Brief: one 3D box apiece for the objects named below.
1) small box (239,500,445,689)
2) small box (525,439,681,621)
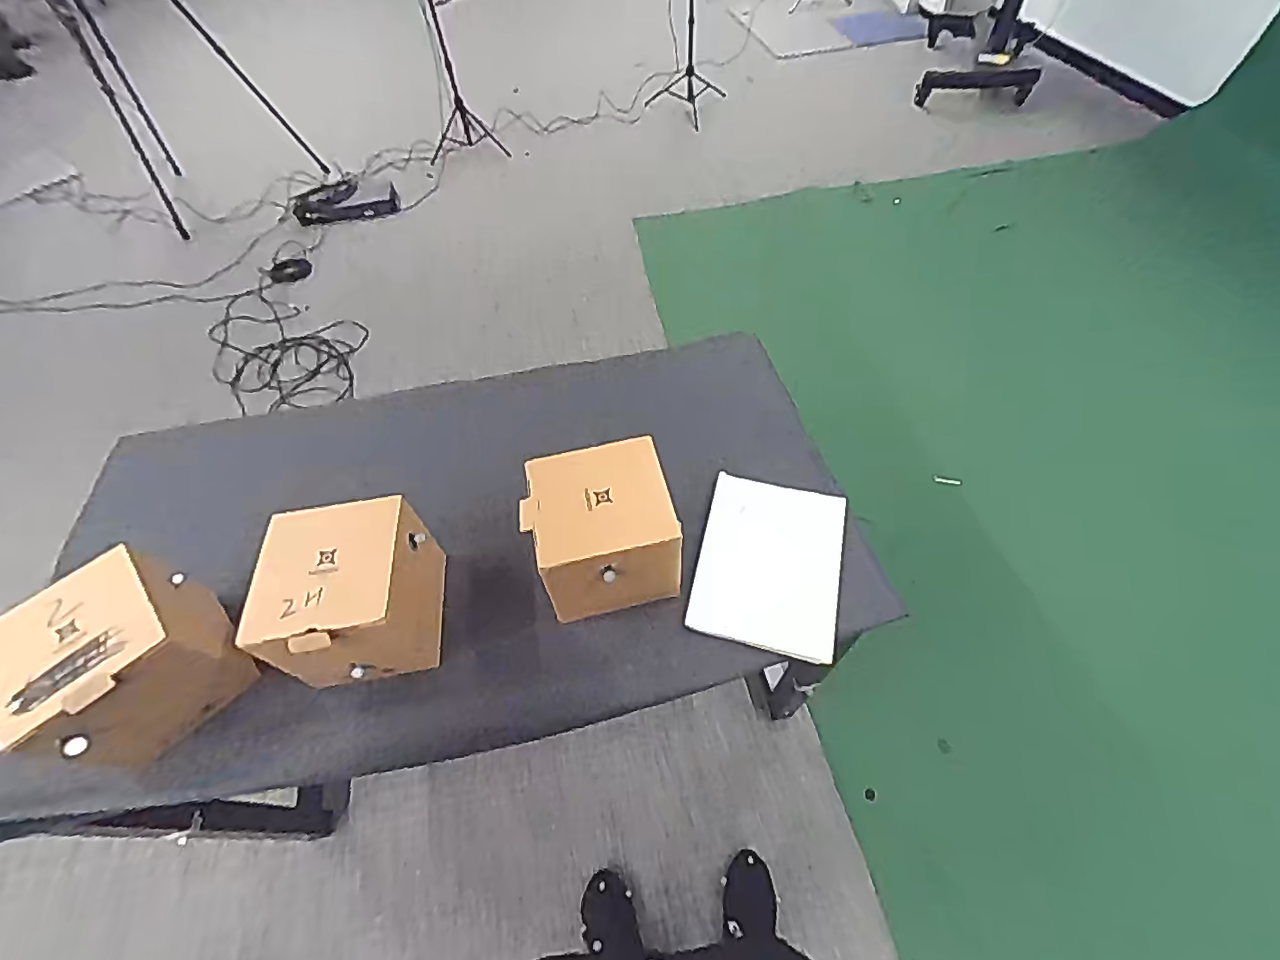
[{"bbox_3d":[-0.368,0.152,0.709,0.168,0.176,0.179,-10,54,-2],"label":"small box"},{"bbox_3d":[-0.048,0.073,0.744,0.179,0.176,0.168,-13,54,-4],"label":"small box"}]
